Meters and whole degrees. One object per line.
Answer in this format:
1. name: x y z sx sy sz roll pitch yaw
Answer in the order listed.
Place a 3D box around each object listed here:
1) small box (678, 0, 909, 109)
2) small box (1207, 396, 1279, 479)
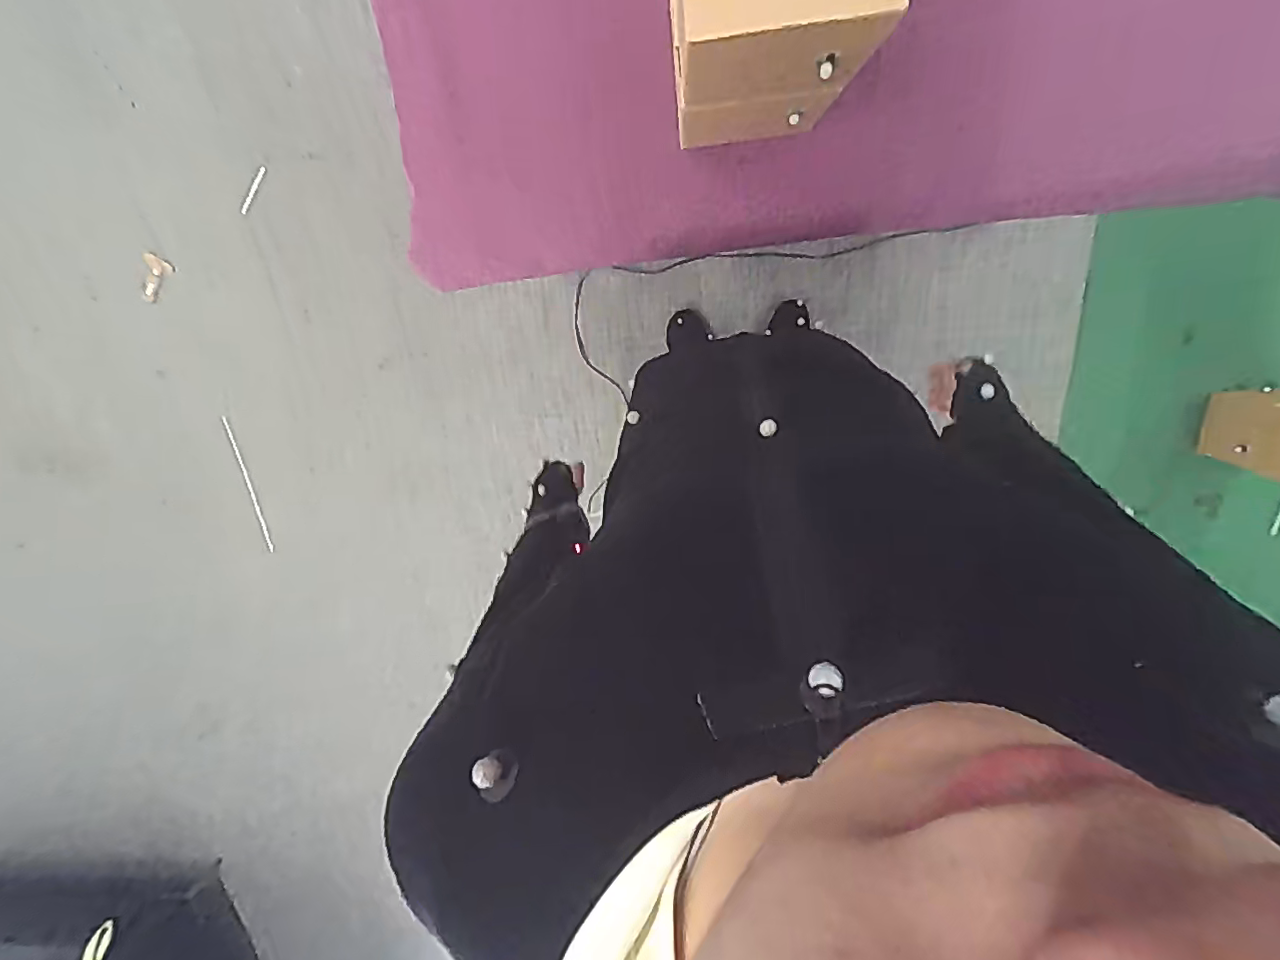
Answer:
1. small box: 0.122 -0.457 0.480 0.179 0.176 0.168 -3 108 6
2. small box: 1.647 -0.113 1.402 0.168 0.176 0.179 -3 108 6
